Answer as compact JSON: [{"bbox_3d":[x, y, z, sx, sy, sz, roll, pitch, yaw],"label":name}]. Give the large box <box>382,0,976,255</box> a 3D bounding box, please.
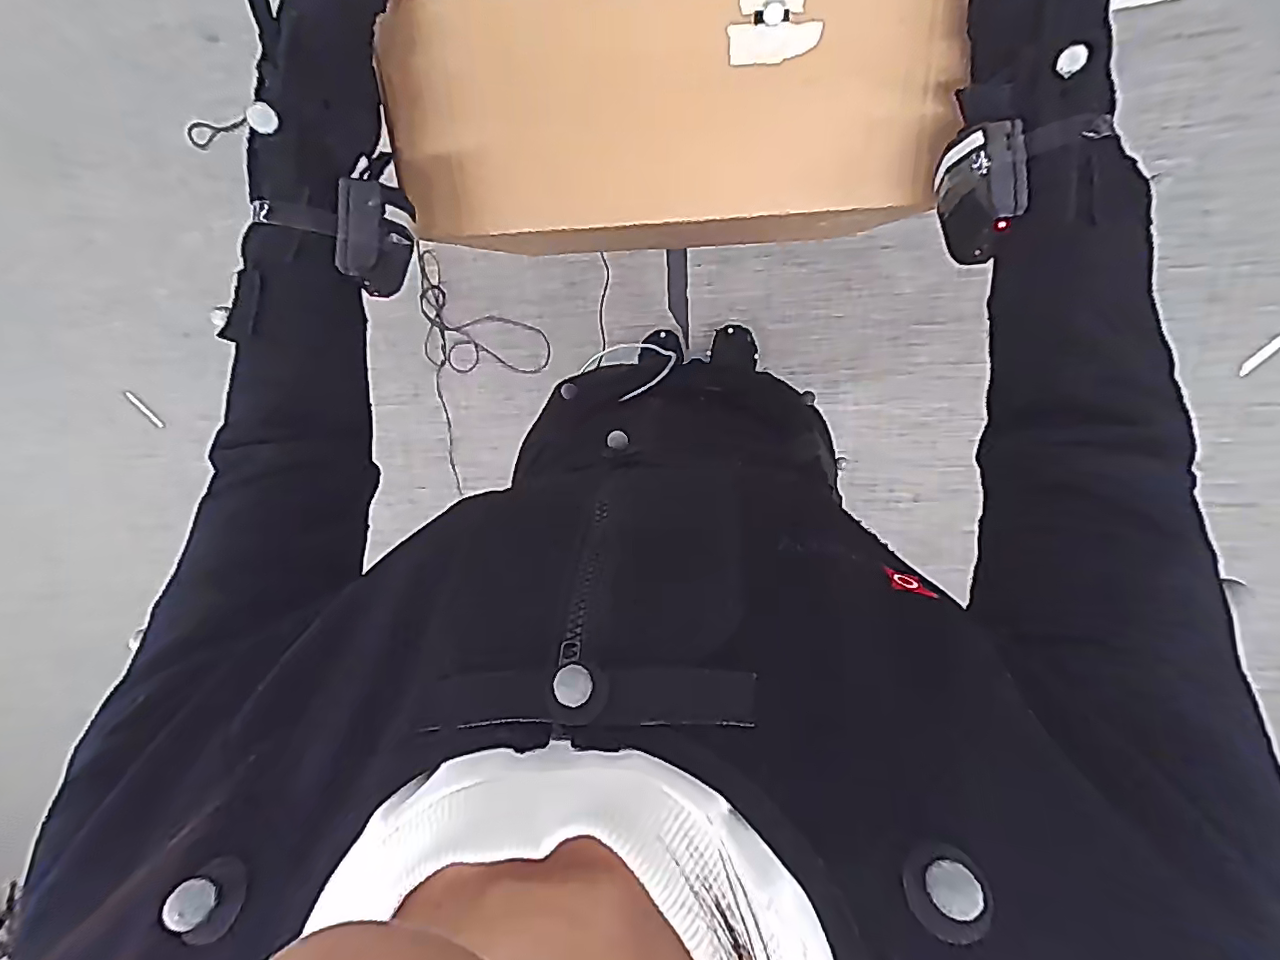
[{"bbox_3d":[0.027,-0.394,0.492,0.408,0.320,0.320,-2,110,5],"label":"large box"}]
